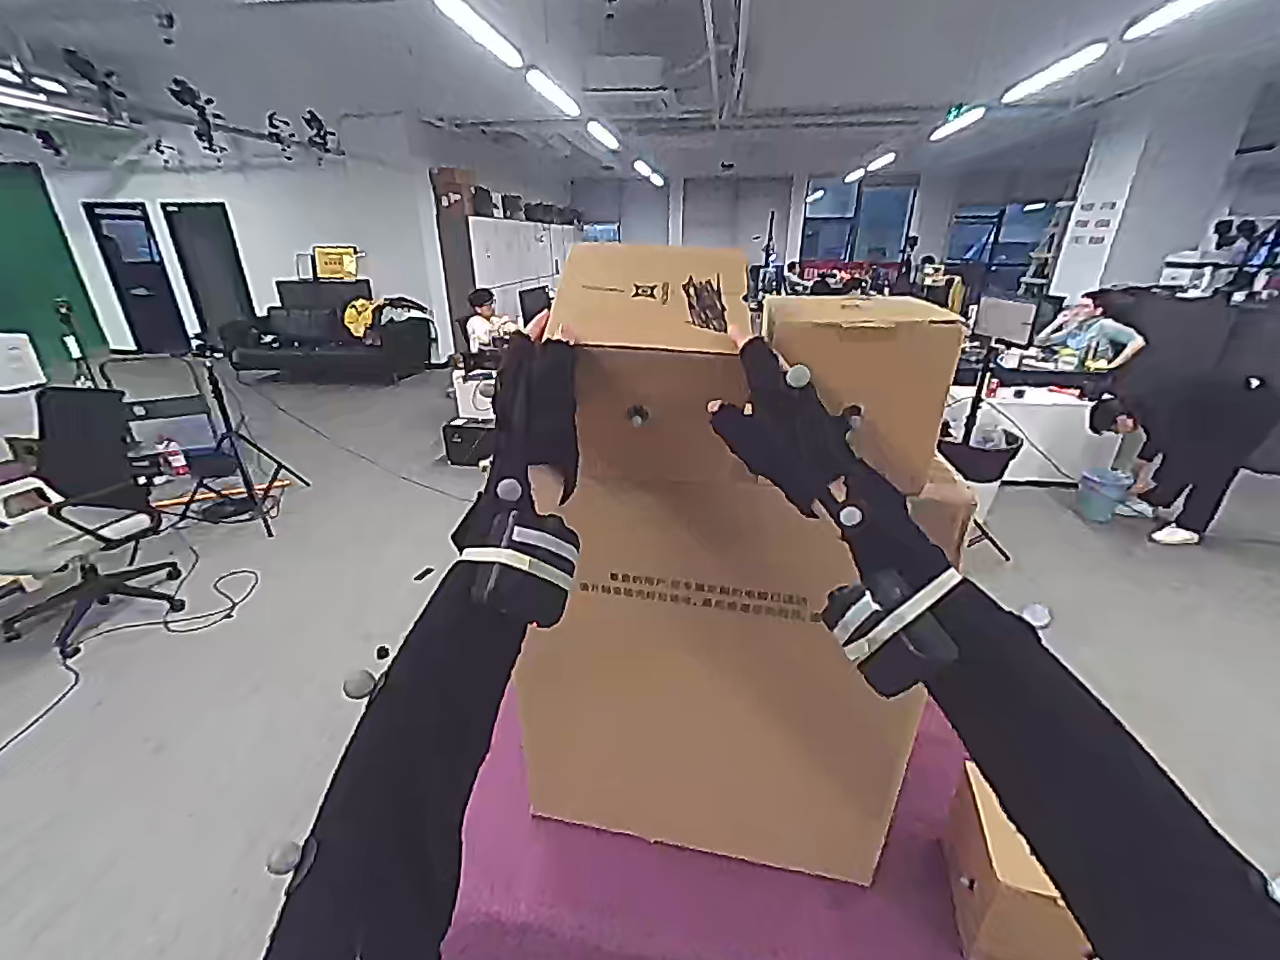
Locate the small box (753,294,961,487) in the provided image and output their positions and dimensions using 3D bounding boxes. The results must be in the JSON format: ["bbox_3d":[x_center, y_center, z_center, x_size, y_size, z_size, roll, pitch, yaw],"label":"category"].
[{"bbox_3d":[0.216,-0.103,0.588,0.168,0.176,0.179,4,26,8],"label":"small box"}]

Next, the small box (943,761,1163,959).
[{"bbox_3d":[0.523,0.522,0.718,0.168,0.176,0.179,7,23,15],"label":"small box"}]
